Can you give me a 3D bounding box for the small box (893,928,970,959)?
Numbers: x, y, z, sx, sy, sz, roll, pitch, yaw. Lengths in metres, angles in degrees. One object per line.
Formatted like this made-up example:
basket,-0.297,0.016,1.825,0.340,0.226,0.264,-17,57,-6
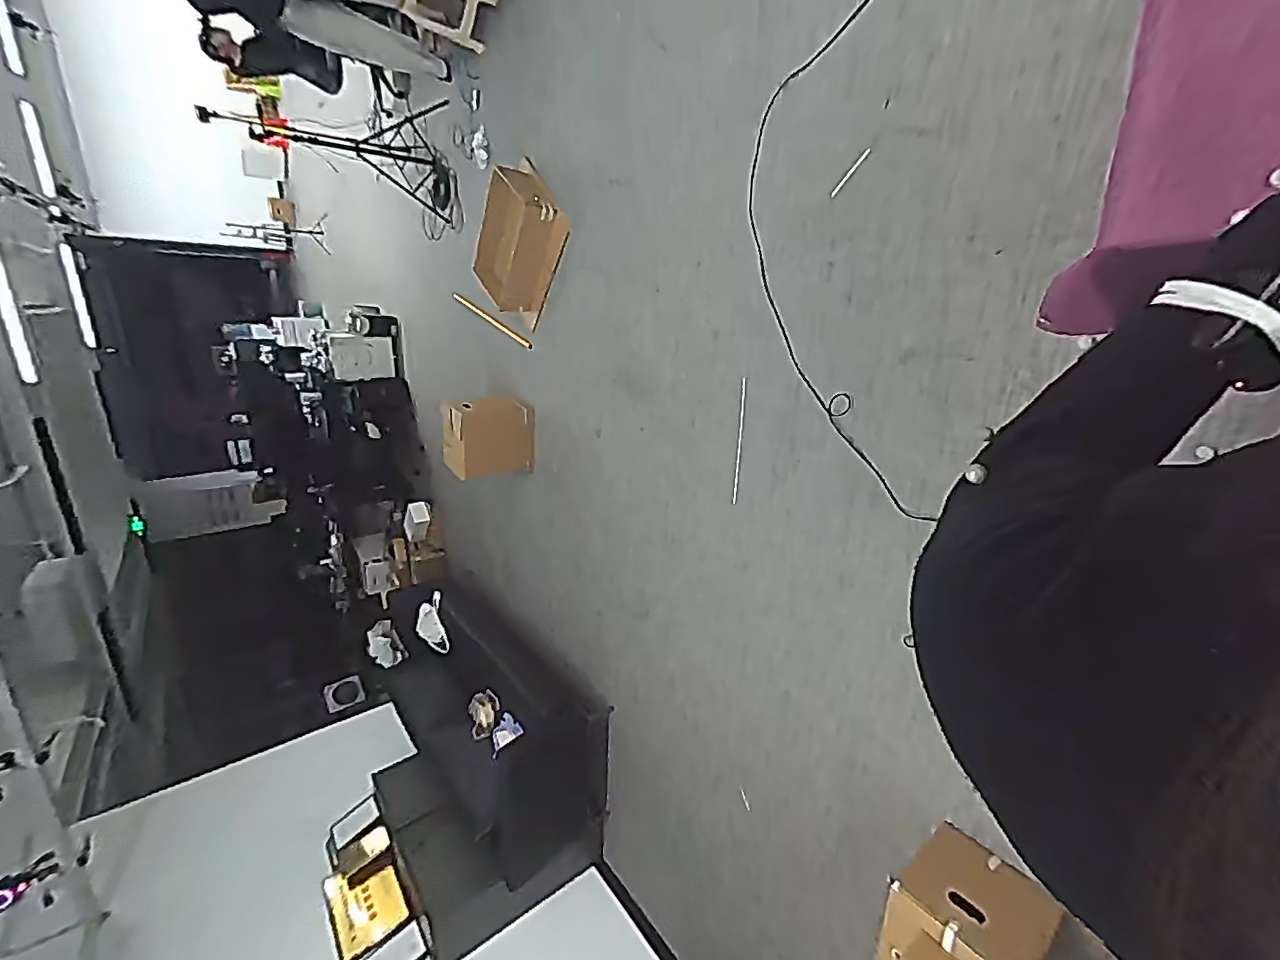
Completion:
small box,0.727,1.259,1.324,0.179,0.176,0.168,18,114,47
